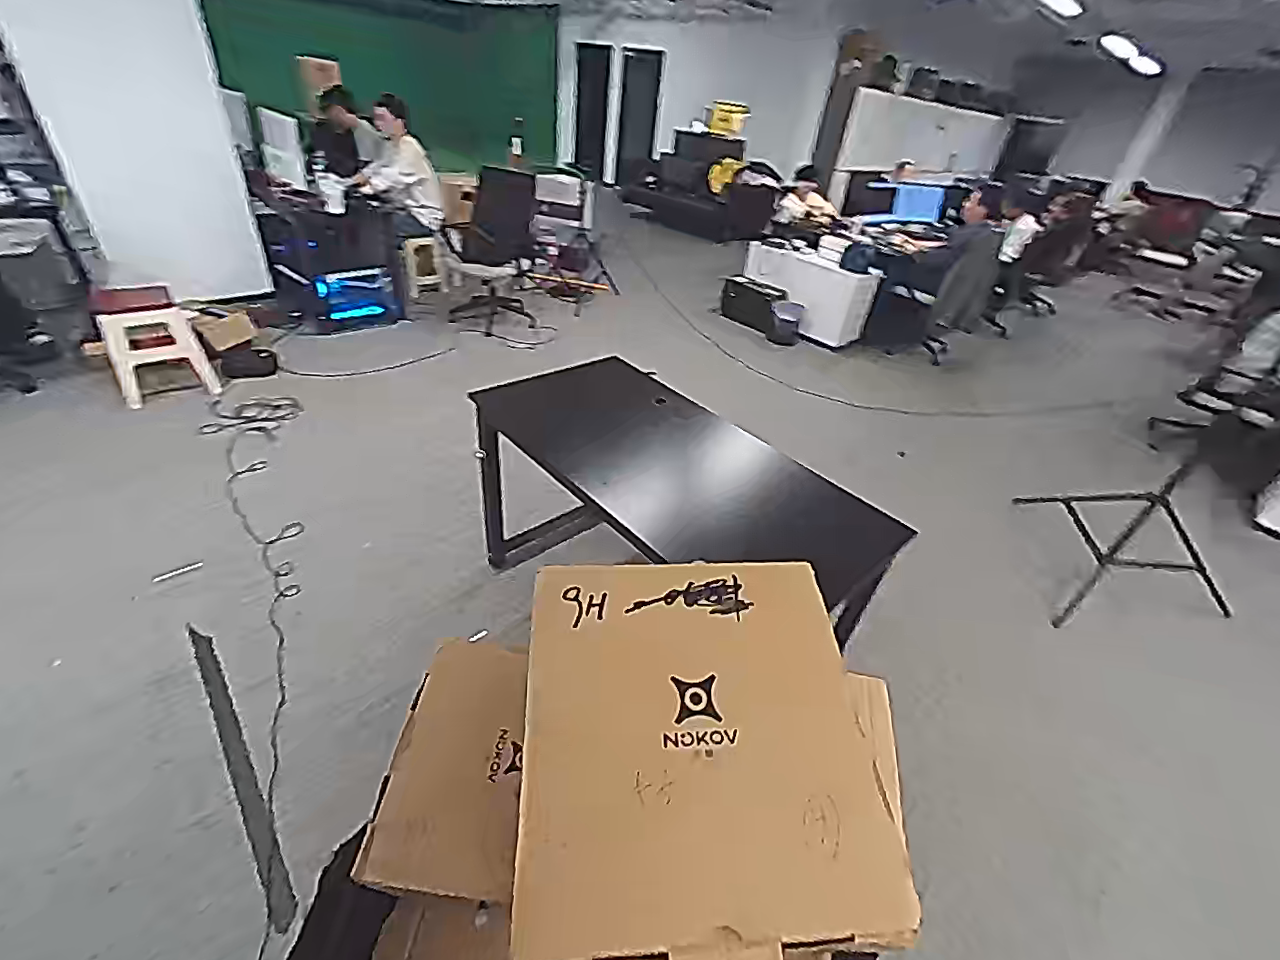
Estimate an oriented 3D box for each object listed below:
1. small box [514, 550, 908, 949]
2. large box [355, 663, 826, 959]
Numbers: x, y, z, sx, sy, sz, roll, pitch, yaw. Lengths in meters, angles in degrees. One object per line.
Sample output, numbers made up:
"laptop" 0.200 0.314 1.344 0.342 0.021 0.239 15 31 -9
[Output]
"small box" 0.020 0.161 0.330 0.168 0.176 0.179 0 50 -7
"large box" -0.044 0.440 0.620 0.408 0.320 0.320 8 49 -1
